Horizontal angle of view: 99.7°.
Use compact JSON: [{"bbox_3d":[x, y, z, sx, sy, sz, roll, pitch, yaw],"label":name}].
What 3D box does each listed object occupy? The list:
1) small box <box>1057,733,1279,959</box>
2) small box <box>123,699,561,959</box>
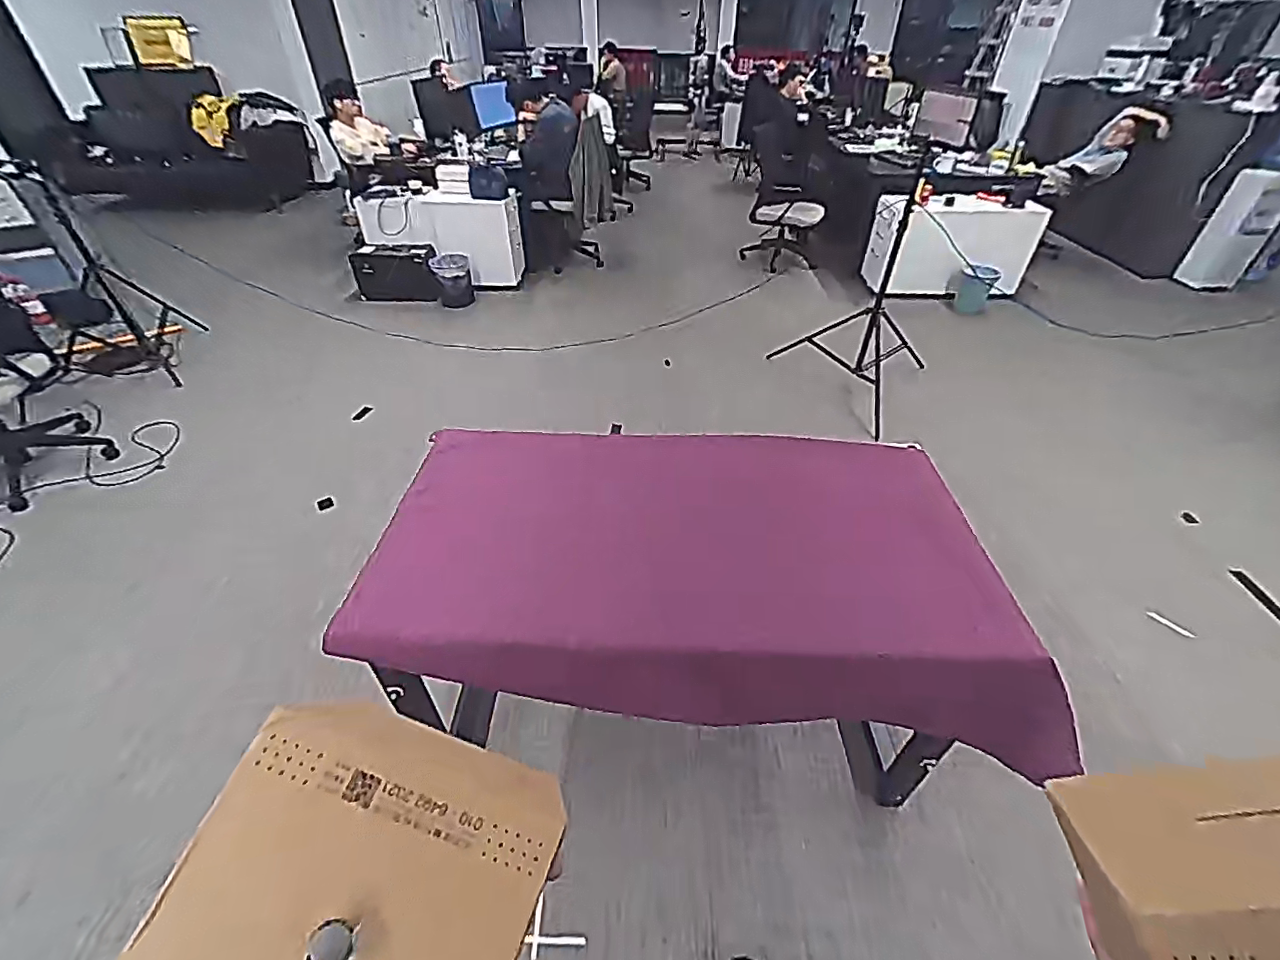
[{"bbox_3d":[0.339,0.236,0.253,0.168,0.179,0.176,-21,73,21],"label":"small box"},{"bbox_3d":[-0.154,0.237,0.315,0.168,0.179,0.176,22,65,-2],"label":"small box"}]
